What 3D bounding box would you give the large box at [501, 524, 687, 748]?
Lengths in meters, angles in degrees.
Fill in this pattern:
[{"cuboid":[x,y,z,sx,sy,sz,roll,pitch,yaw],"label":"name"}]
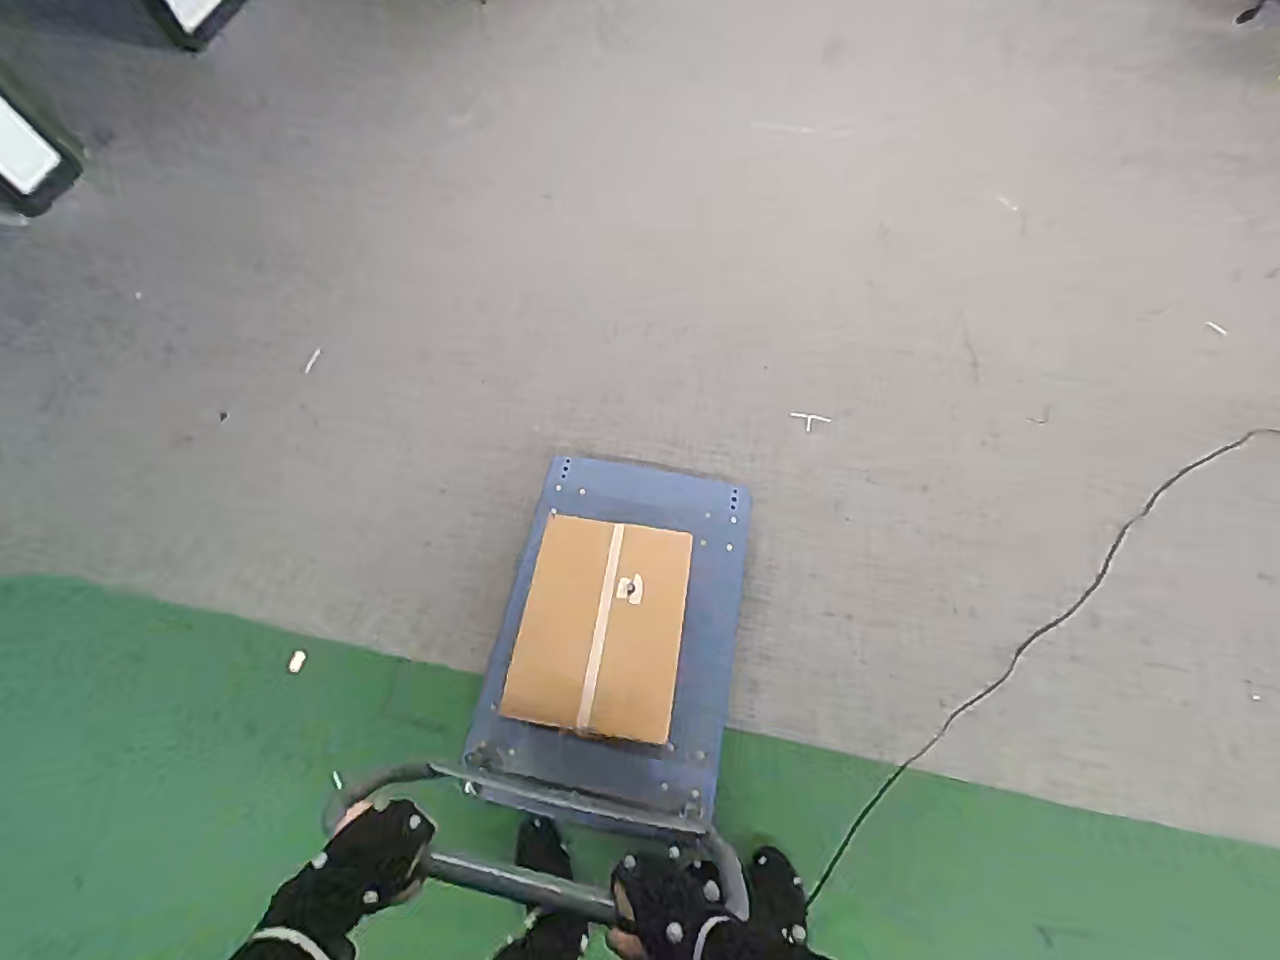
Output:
[{"cuboid":[-0.076,0.354,1.198,0.320,0.320,0.408,8,64,4],"label":"large box"}]
